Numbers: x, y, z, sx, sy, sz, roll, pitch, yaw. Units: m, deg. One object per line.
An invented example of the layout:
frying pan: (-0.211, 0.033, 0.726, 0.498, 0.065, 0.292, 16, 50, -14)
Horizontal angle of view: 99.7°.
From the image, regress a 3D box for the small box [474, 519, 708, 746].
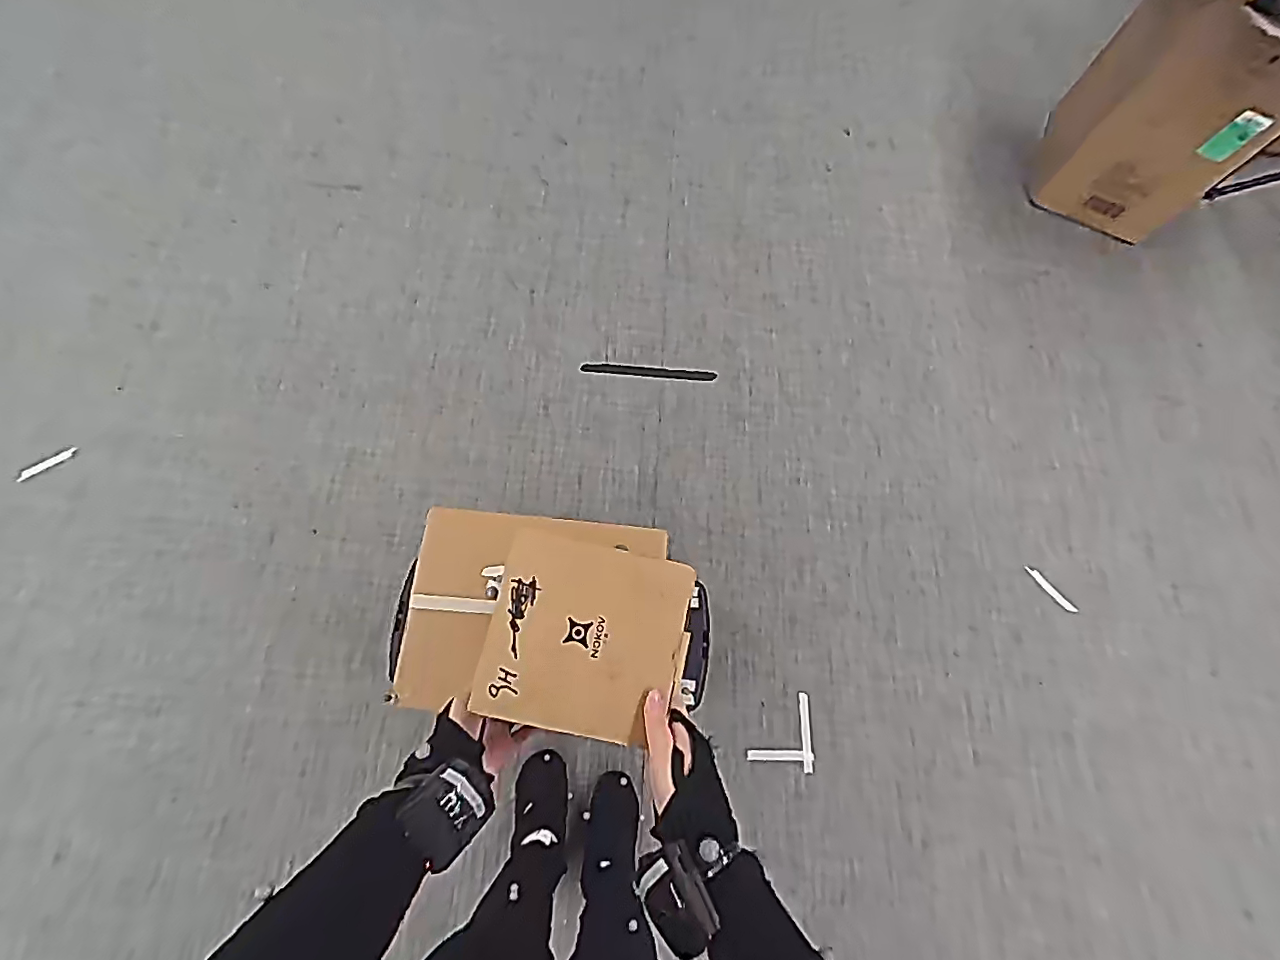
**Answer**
small box: (-0.047, 0.148, 0.552, 0.179, 0.176, 0.168, 14, 76, -3)

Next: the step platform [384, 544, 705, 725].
step platform: (-0.196, 0.343, 1.216, 0.684, 0.204, 0.286, 10, 71, 0)

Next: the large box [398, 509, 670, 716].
large box: (-0.161, 0.254, 0.997, 0.408, 0.320, 0.320, 5, 70, -2)
